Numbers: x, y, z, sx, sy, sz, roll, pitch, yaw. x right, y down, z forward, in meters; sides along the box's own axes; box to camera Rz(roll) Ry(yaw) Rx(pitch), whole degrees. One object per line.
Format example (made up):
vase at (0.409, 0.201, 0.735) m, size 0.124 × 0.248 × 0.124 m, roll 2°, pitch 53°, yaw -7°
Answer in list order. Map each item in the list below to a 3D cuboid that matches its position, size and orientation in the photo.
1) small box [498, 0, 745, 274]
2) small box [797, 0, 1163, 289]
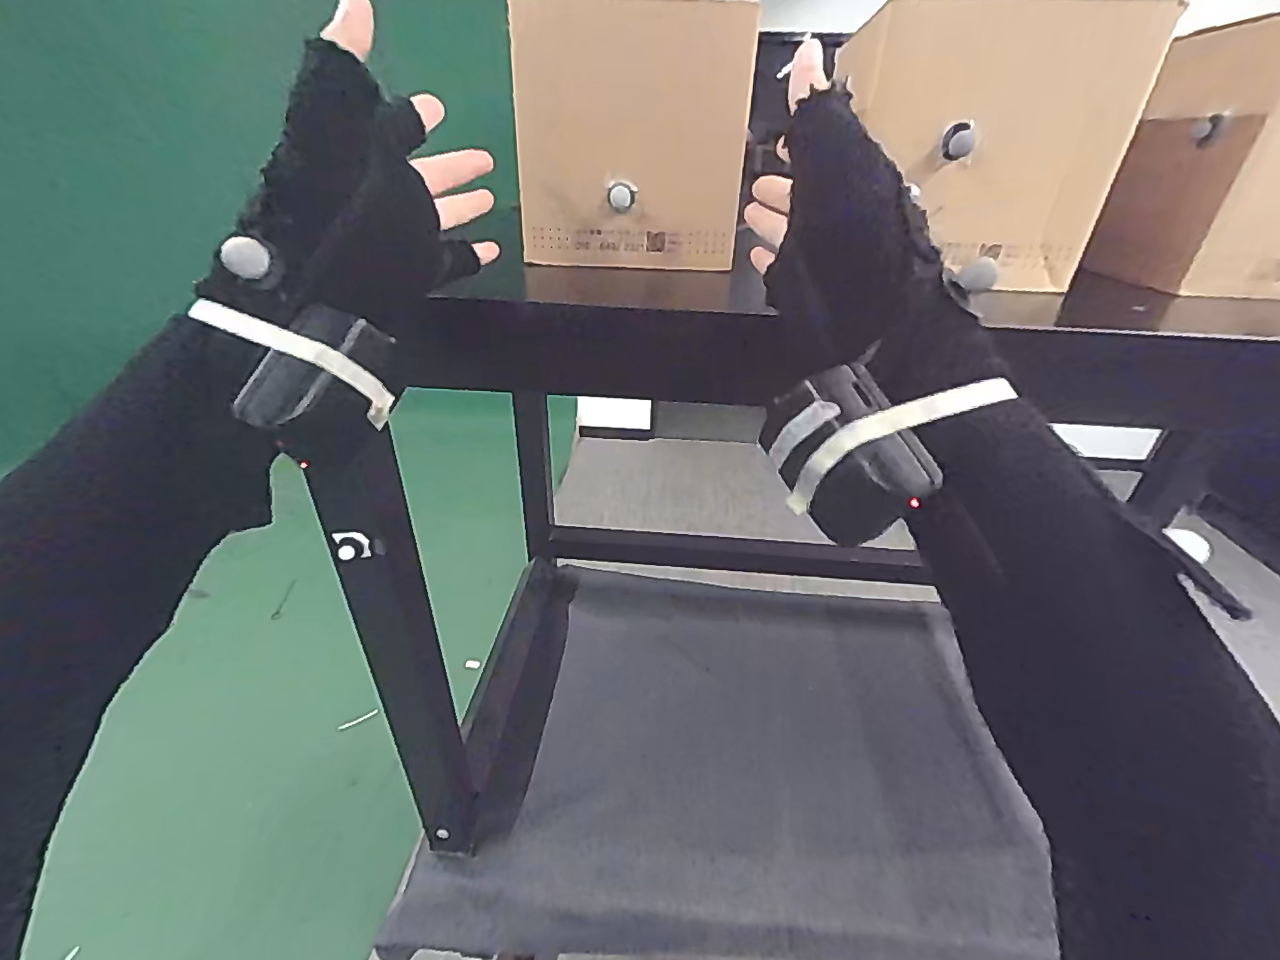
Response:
small box at (-0.012, -0.282, 0.461) m, size 0.168 × 0.176 × 0.179 m, roll 2°, pitch 31°, yaw 1°
small box at (0.228, -0.253, 0.425) m, size 0.168 × 0.176 × 0.179 m, roll 4°, pitch 31°, yaw 5°
